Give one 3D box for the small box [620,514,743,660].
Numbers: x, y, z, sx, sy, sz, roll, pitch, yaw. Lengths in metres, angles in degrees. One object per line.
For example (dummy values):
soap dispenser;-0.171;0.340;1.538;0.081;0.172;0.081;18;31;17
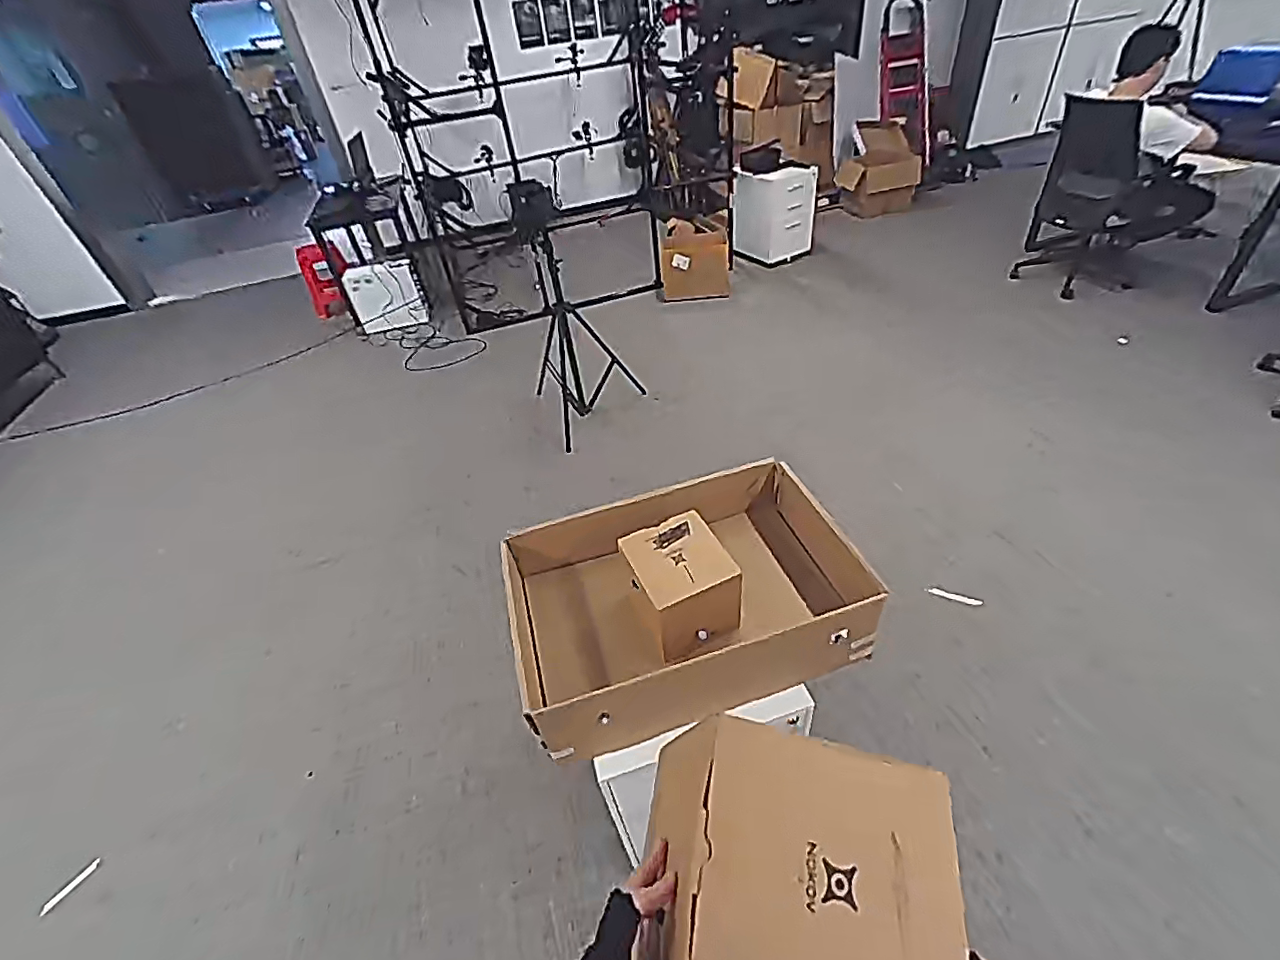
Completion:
small box;0.076;0.200;1.014;0.168;0.176;0.179;-21;43;-14
